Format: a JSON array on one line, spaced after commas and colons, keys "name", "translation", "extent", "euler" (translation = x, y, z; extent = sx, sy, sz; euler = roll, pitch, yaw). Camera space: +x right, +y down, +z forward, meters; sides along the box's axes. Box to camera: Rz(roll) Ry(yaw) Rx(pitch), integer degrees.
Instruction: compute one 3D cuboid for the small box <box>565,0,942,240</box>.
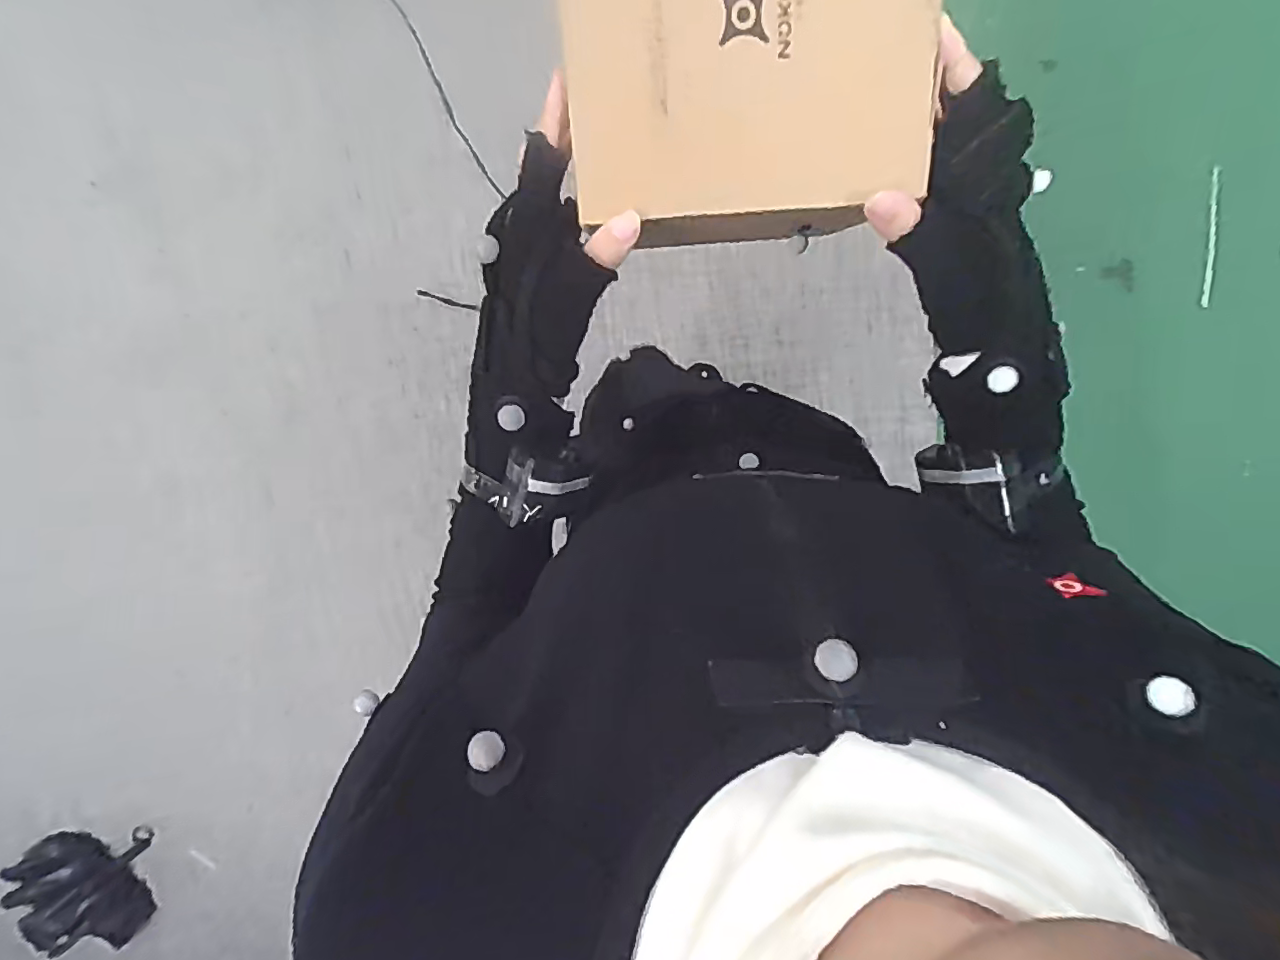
[{"name": "small box", "translation": [0.053, -0.247, 0.323], "extent": [0.179, 0.176, 0.168], "euler": [-5, 108, 3]}]
